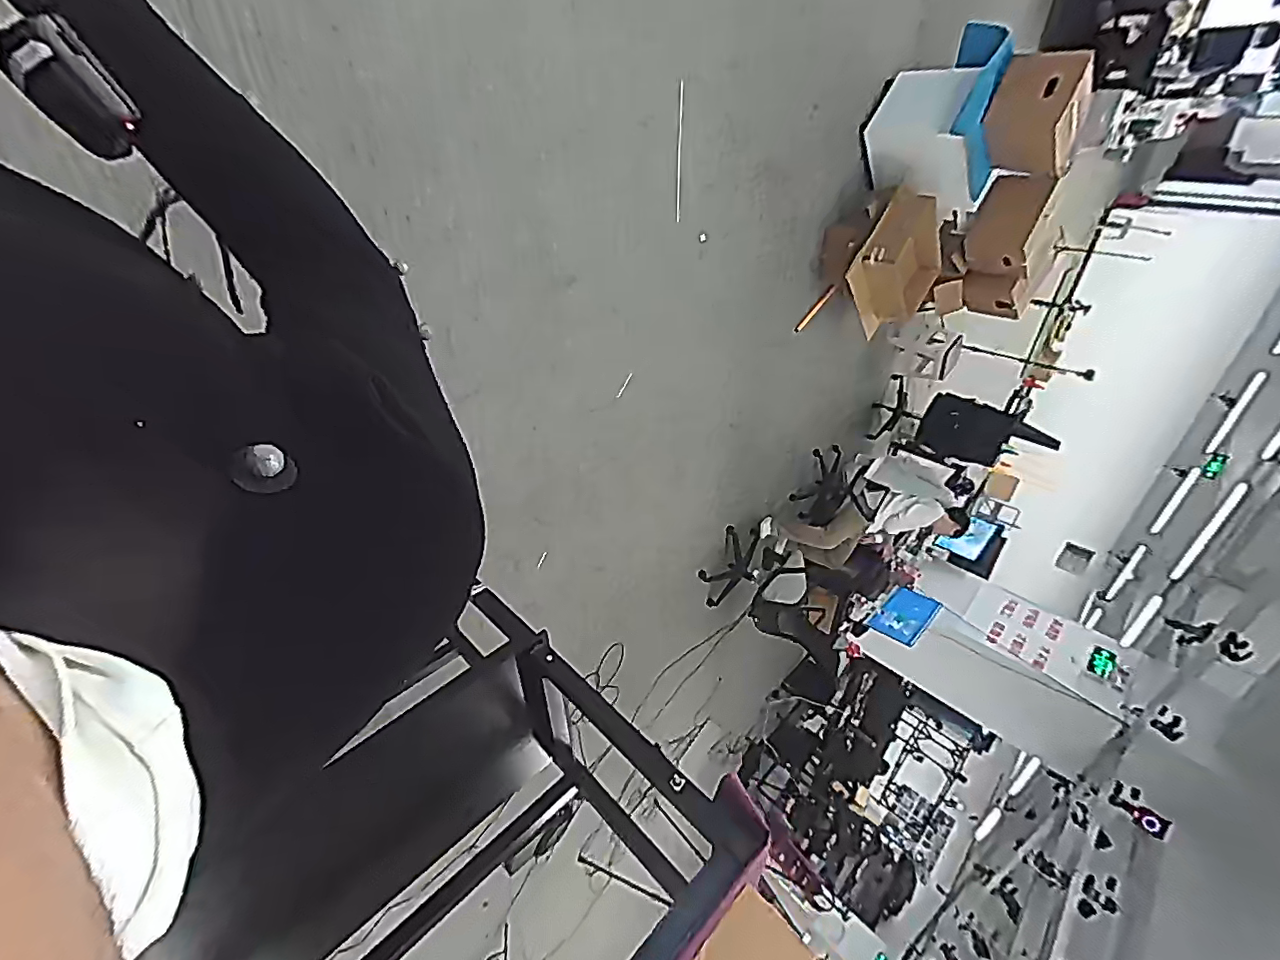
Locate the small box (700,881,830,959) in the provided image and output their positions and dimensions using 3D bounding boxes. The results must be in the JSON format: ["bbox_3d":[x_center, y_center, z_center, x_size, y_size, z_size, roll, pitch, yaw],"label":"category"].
[{"bbox_3d":[0.224,0.911,1.012,0.179,0.176,0.168,-30,134,-35],"label":"small box"}]
